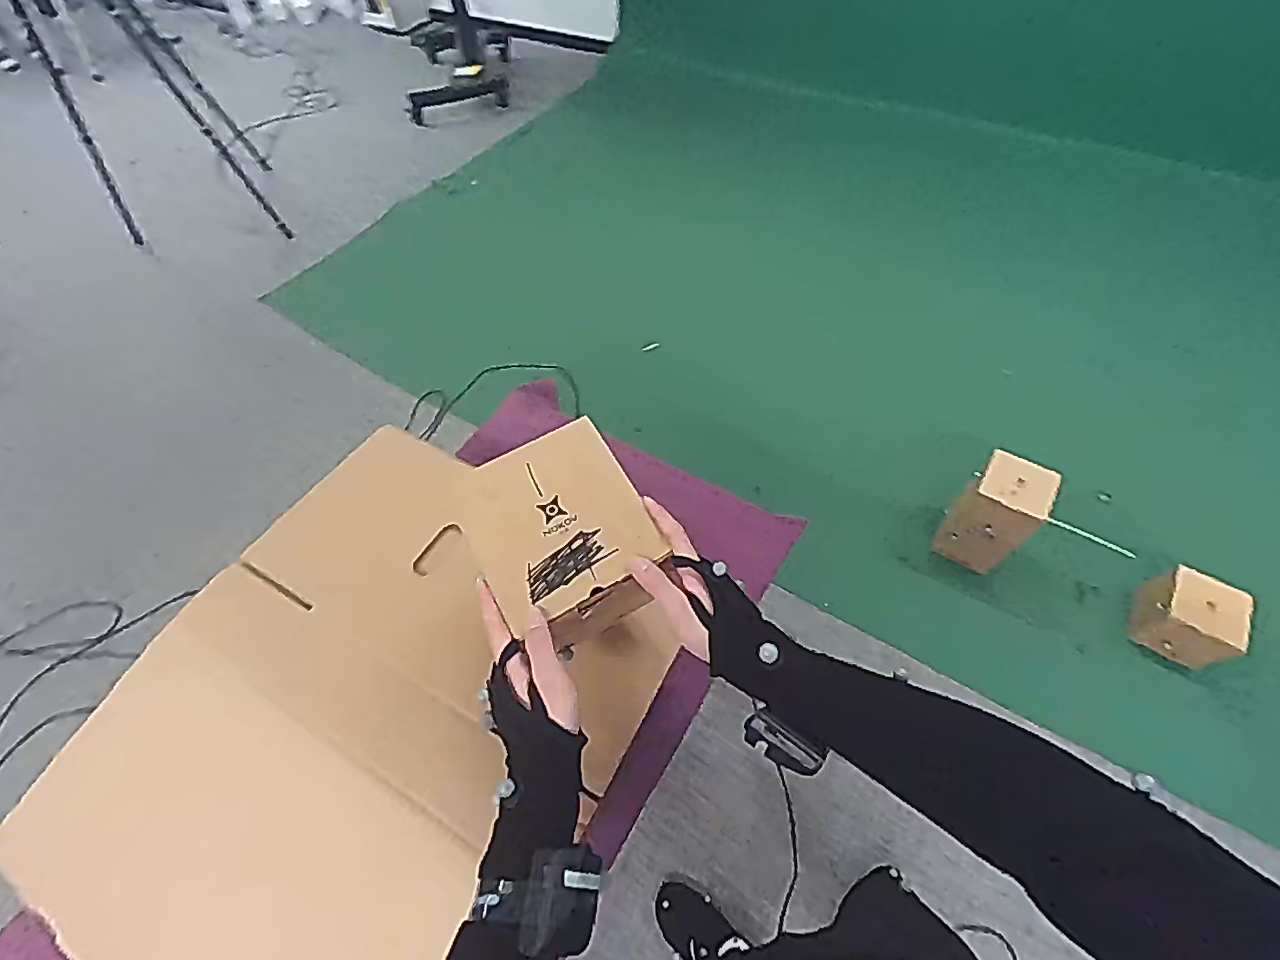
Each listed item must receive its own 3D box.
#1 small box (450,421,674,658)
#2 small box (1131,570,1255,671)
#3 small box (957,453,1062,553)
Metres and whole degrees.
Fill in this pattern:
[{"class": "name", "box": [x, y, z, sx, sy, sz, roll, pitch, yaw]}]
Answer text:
[{"class": "small box", "box": [-0.078, 0.074, 0.581, 0.168, 0.176, 0.179, -24, 65, -14]}, {"class": "small box", "box": [1.478, 0.380, 1.453, 0.168, 0.176, 0.179, 29, 63, 20]}, {"class": "small box", "box": [1.010, 0.066, 1.492, 0.168, 0.176, 0.179, 29, 62, 22]}]
